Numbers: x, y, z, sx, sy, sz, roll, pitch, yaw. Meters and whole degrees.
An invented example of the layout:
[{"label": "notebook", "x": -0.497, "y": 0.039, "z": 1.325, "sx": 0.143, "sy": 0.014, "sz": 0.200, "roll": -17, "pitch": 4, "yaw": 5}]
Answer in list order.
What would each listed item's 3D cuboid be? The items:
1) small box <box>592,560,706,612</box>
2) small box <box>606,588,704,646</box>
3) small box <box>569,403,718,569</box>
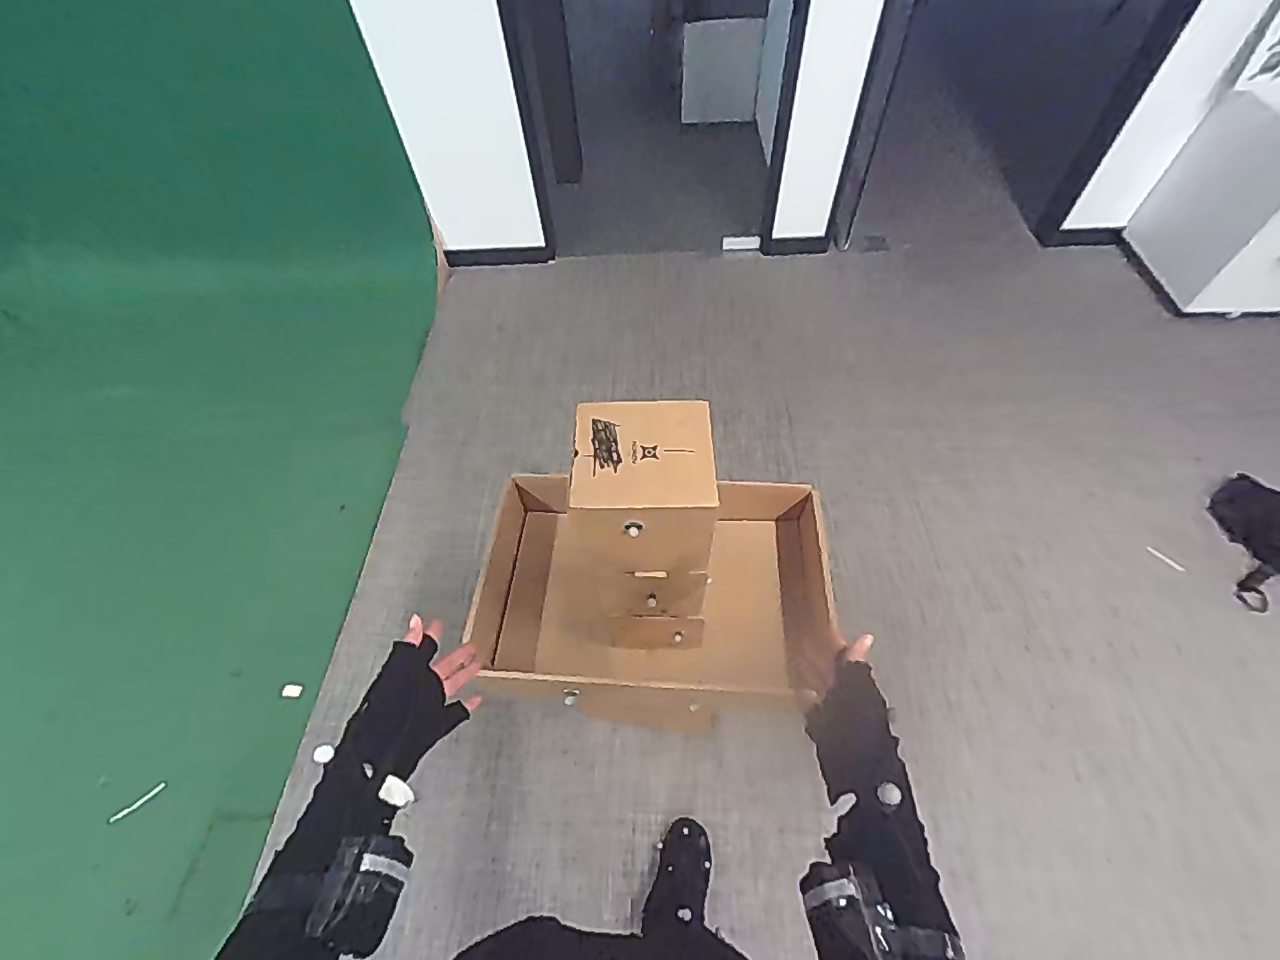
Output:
[{"label": "small box", "x": 0.020, "y": 0.104, "z": 0.871, "sx": 0.168, "sy": 0.176, "sz": 0.179, "roll": 1, "pitch": 56, "yaw": 2}, {"label": "small box", "x": 0.032, "y": 0.199, "z": 1.003, "sx": 0.168, "sy": 0.176, "sz": 0.179, "roll": 1, "pitch": 54, "yaw": 2}, {"label": "small box", "x": 0.007, "y": 0.013, "z": 0.733, "sx": 0.179, "sy": 0.176, "sz": 0.168, "roll": 0, "pitch": 56, "yaw": 1}]
